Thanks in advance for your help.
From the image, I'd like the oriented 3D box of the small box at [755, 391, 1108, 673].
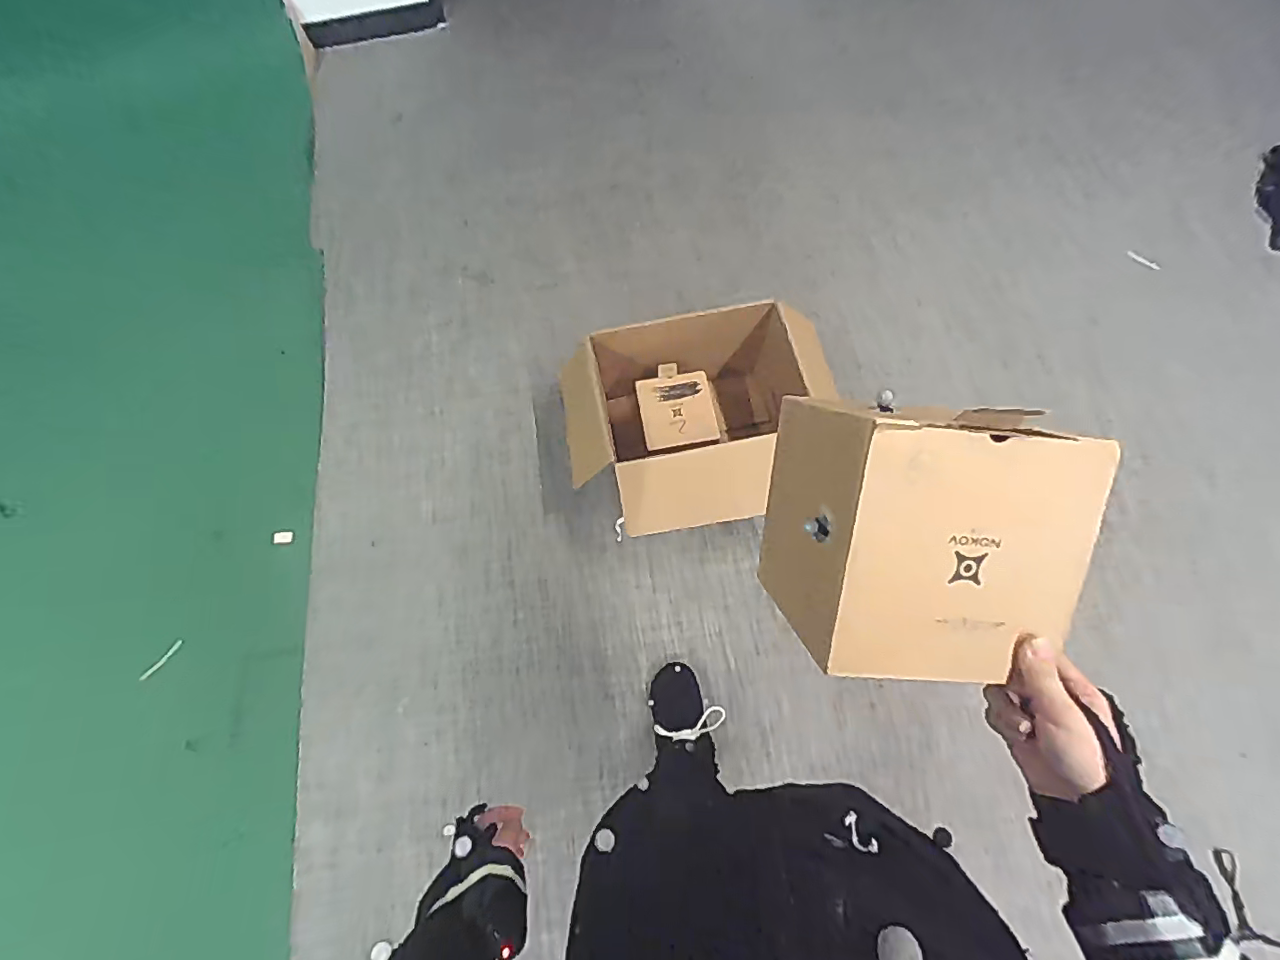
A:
[{"bbox_3d":[0.200,0.026,0.427,0.168,0.176,0.179,5,103,-5],"label":"small box"}]
